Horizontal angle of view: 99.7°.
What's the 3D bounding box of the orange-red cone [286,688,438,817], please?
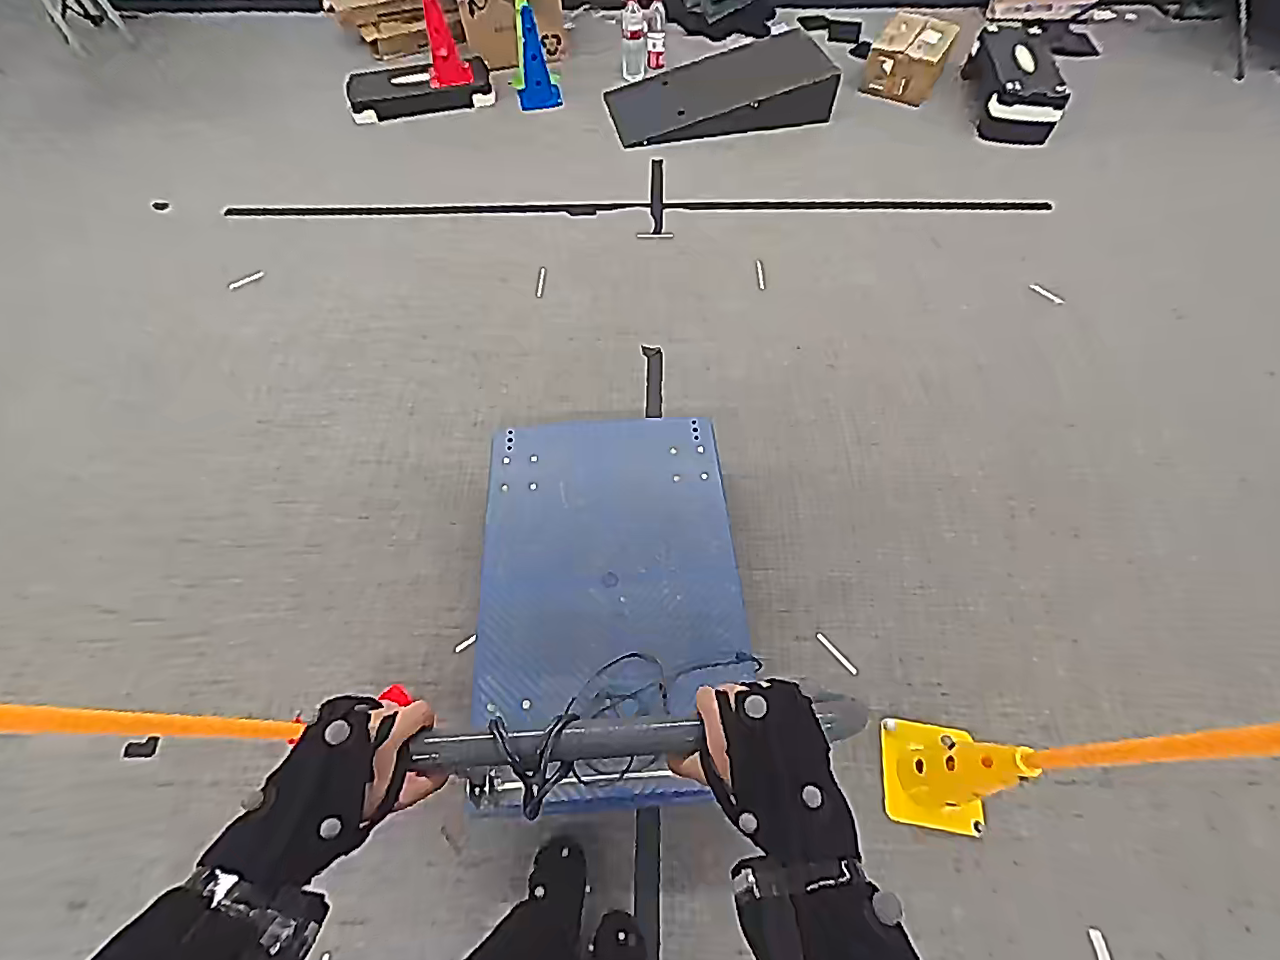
[{"bbox_3d":[-0.563,0.498,1.032,0.199,0.360,0.198,-39,67,-22],"label":"orange-red cone"}]
